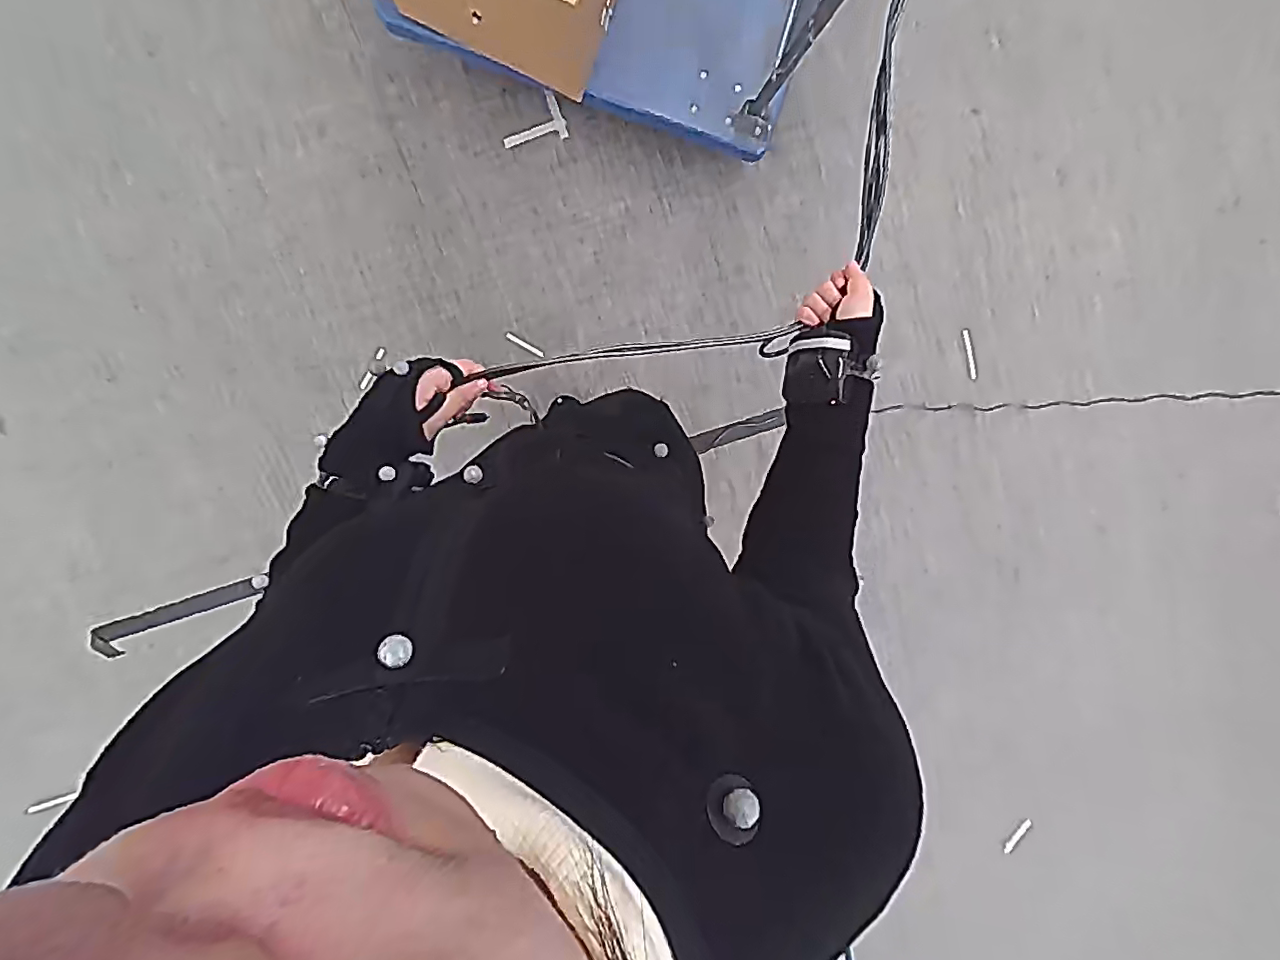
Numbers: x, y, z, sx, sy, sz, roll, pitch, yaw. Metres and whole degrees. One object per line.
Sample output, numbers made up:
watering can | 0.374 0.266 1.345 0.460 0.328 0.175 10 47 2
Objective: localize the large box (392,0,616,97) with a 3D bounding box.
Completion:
large box | -0.241 -0.986 0.961 0.408 0.320 0.320 21 97 -7
